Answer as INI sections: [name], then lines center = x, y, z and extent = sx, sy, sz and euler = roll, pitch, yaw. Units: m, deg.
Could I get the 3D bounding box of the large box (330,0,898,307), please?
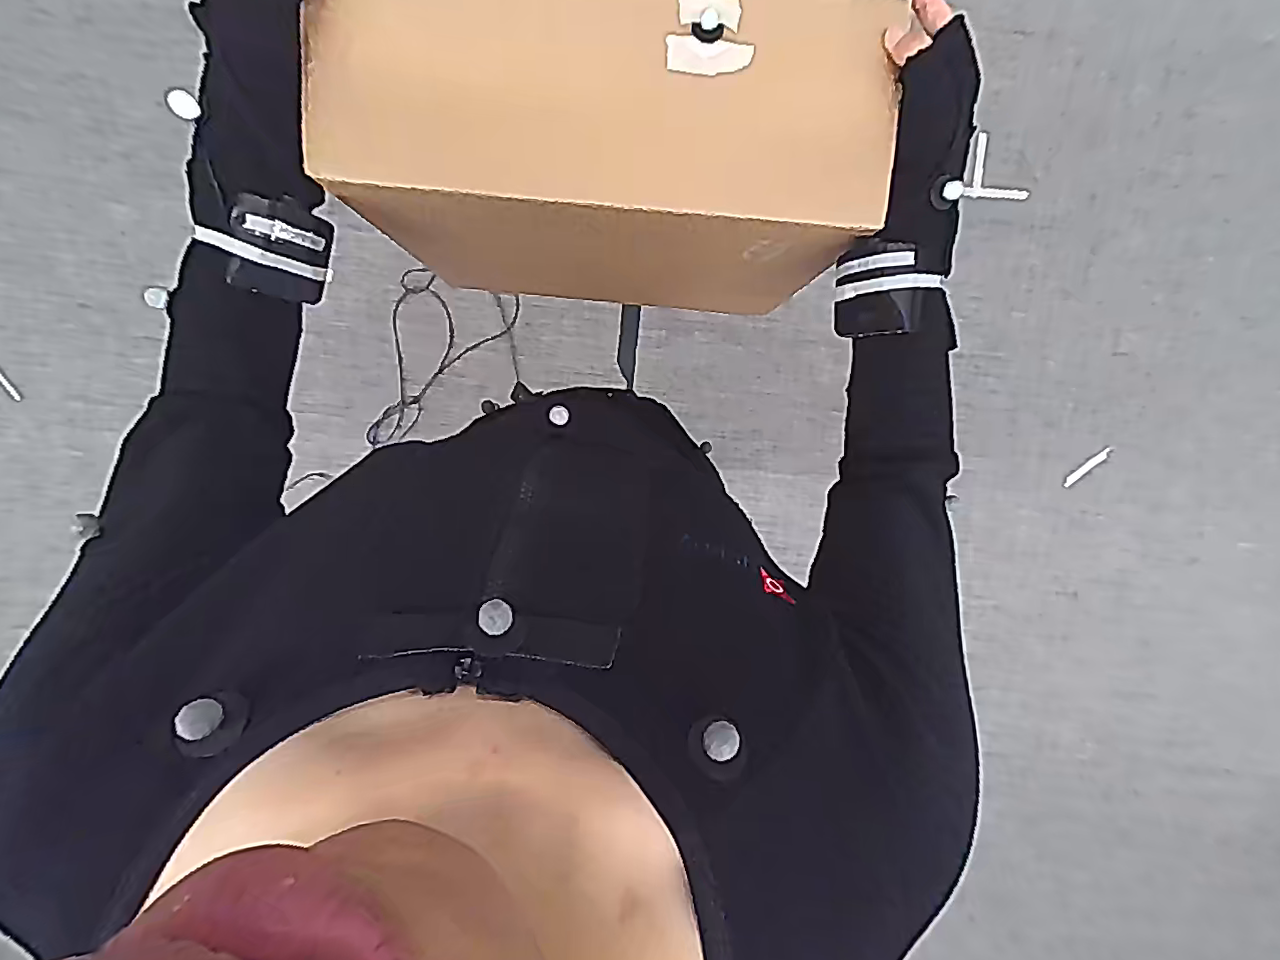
[large box]
center = -0.019, -0.369, 0.525
extent = 0.408, 0.320, 0.320
euler = 4, 96, -3
